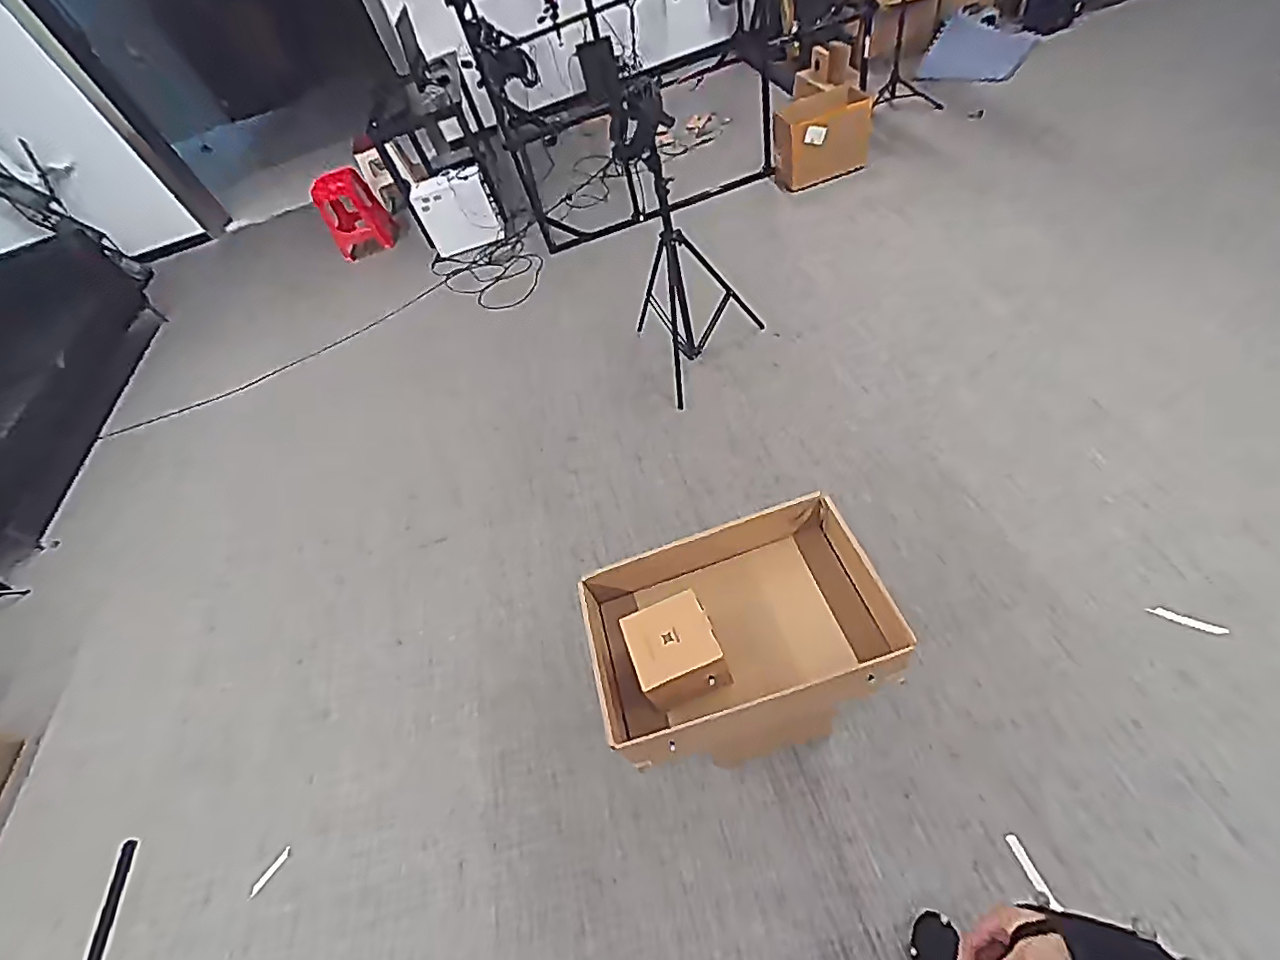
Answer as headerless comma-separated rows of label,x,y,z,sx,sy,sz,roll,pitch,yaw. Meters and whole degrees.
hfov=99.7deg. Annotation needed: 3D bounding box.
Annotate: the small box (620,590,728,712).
small box,0.079,0.369,1.160,0.179,0.176,0.168,-24,50,0
